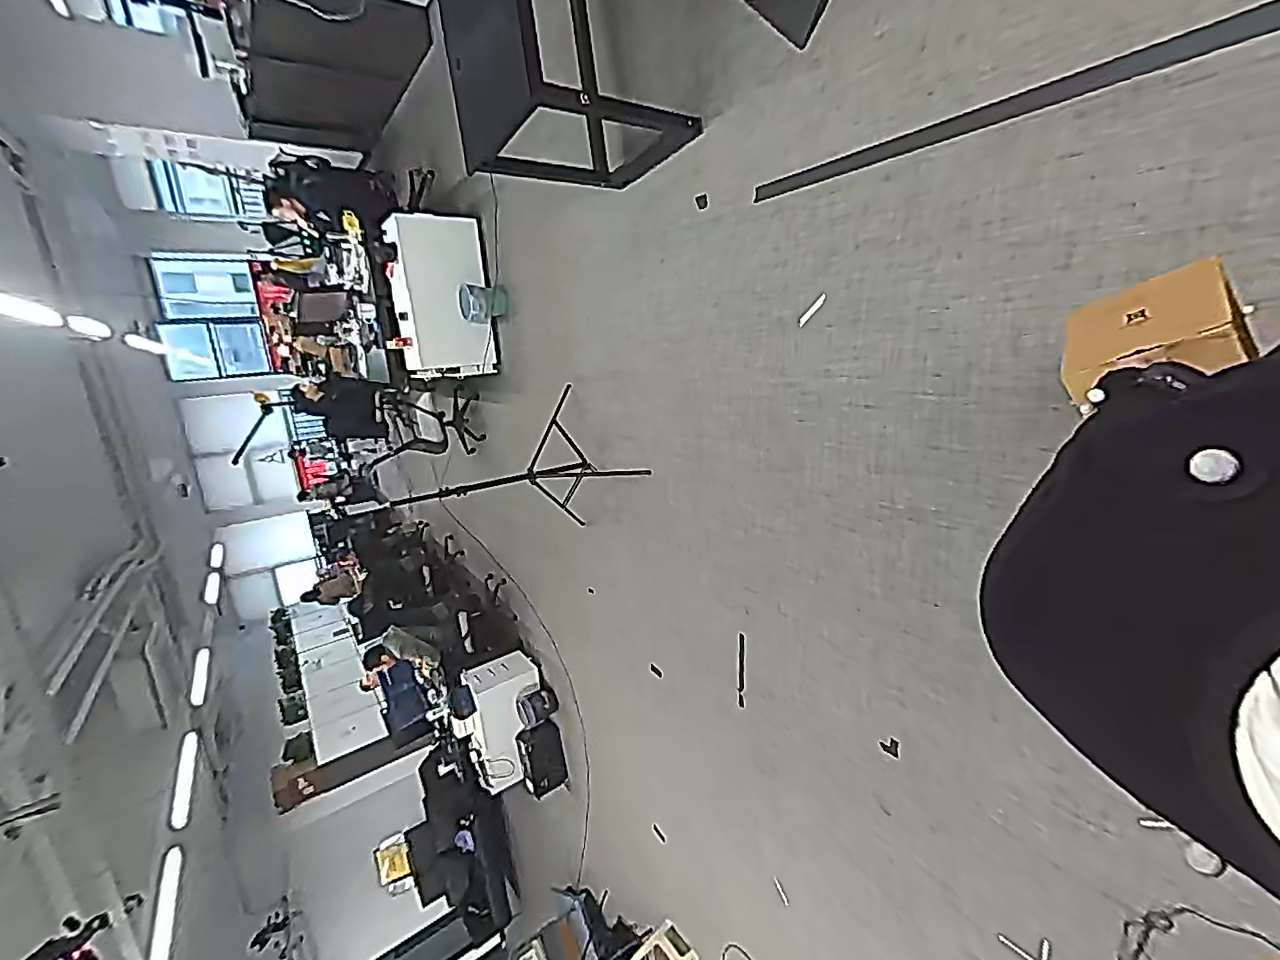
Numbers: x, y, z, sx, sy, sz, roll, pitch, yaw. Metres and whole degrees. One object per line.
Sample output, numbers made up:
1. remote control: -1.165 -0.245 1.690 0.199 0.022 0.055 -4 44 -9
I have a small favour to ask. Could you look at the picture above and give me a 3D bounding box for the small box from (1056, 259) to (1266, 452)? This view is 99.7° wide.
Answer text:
1. small box: 0.707 -0.156 0.742 0.176 0.179 0.168 48 145 -17
